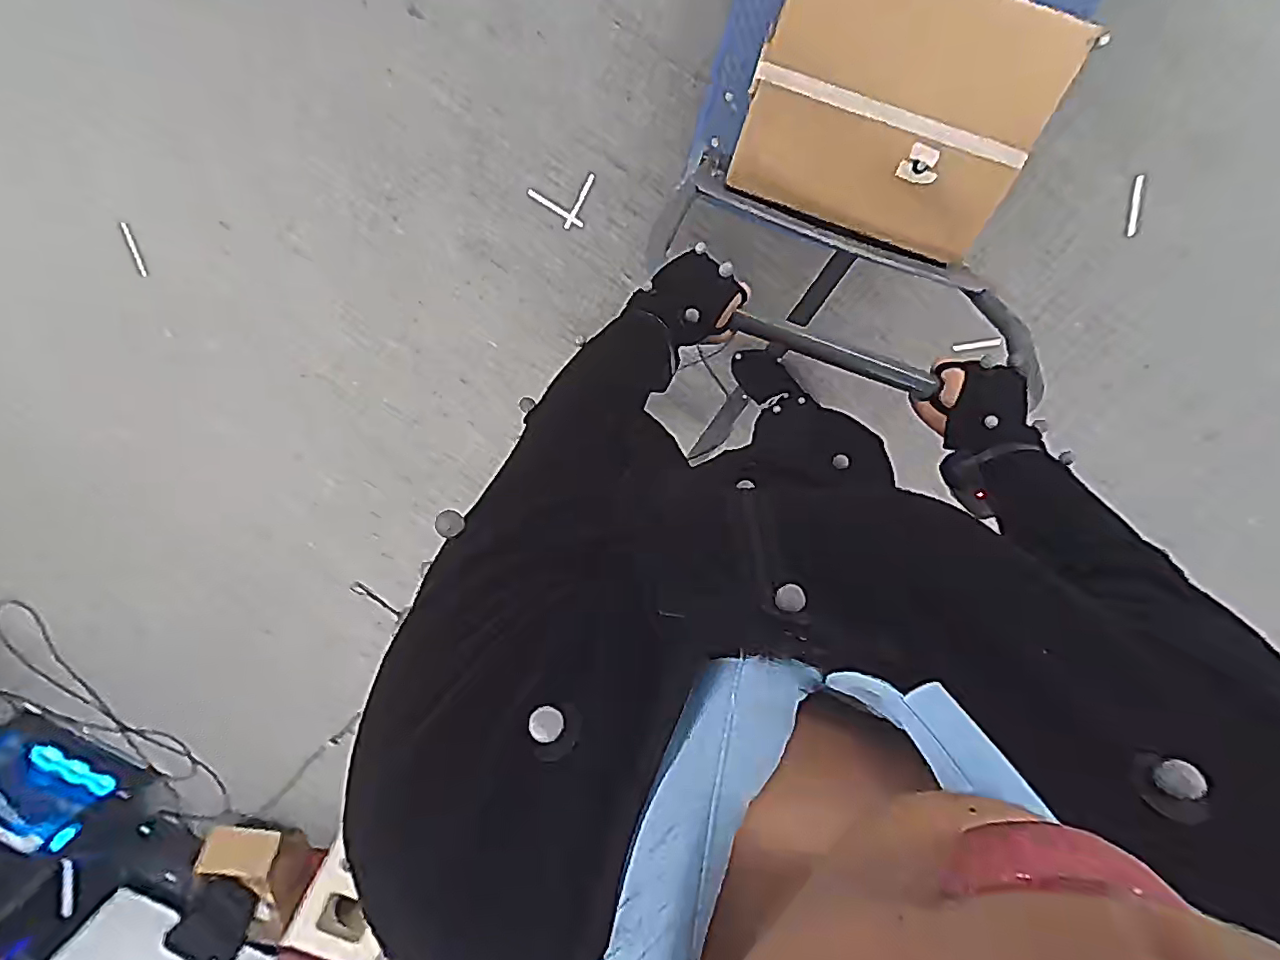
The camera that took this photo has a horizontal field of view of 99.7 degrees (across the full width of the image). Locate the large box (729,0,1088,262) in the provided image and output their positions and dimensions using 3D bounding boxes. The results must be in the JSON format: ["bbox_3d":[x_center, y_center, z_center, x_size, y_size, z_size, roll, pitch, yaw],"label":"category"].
[{"bbox_3d":[0.394,-0.614,0.923,0.408,0.320,0.320,19,125,-1],"label":"large box"}]
